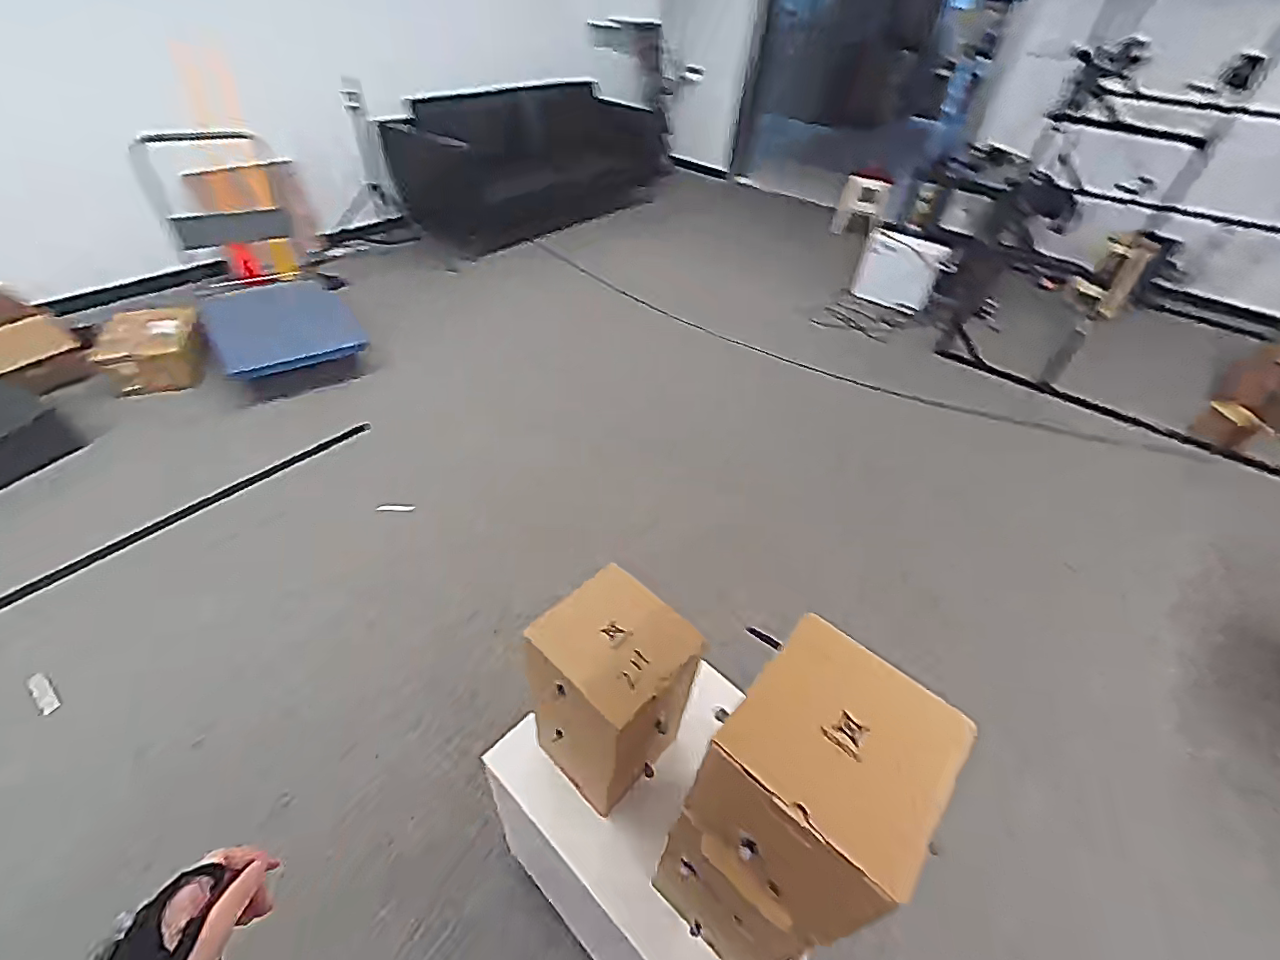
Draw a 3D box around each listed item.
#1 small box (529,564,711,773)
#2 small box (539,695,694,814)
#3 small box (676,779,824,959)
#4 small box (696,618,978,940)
[{"bbox_3d":[-0.032,0.256,0.738,0.179,0.176,0.168,36,51,27],"label":"small box"},{"bbox_3d":[-0.043,0.376,0.851,0.168,0.176,0.179,36,49,29],"label":"small box"},{"bbox_3d":[0.156,0.391,0.617,0.168,0.176,0.179,34,48,27],"label":"small box"},{"bbox_3d":[0.169,0.273,0.506,0.168,0.176,0.179,34,50,27],"label":"small box"}]
